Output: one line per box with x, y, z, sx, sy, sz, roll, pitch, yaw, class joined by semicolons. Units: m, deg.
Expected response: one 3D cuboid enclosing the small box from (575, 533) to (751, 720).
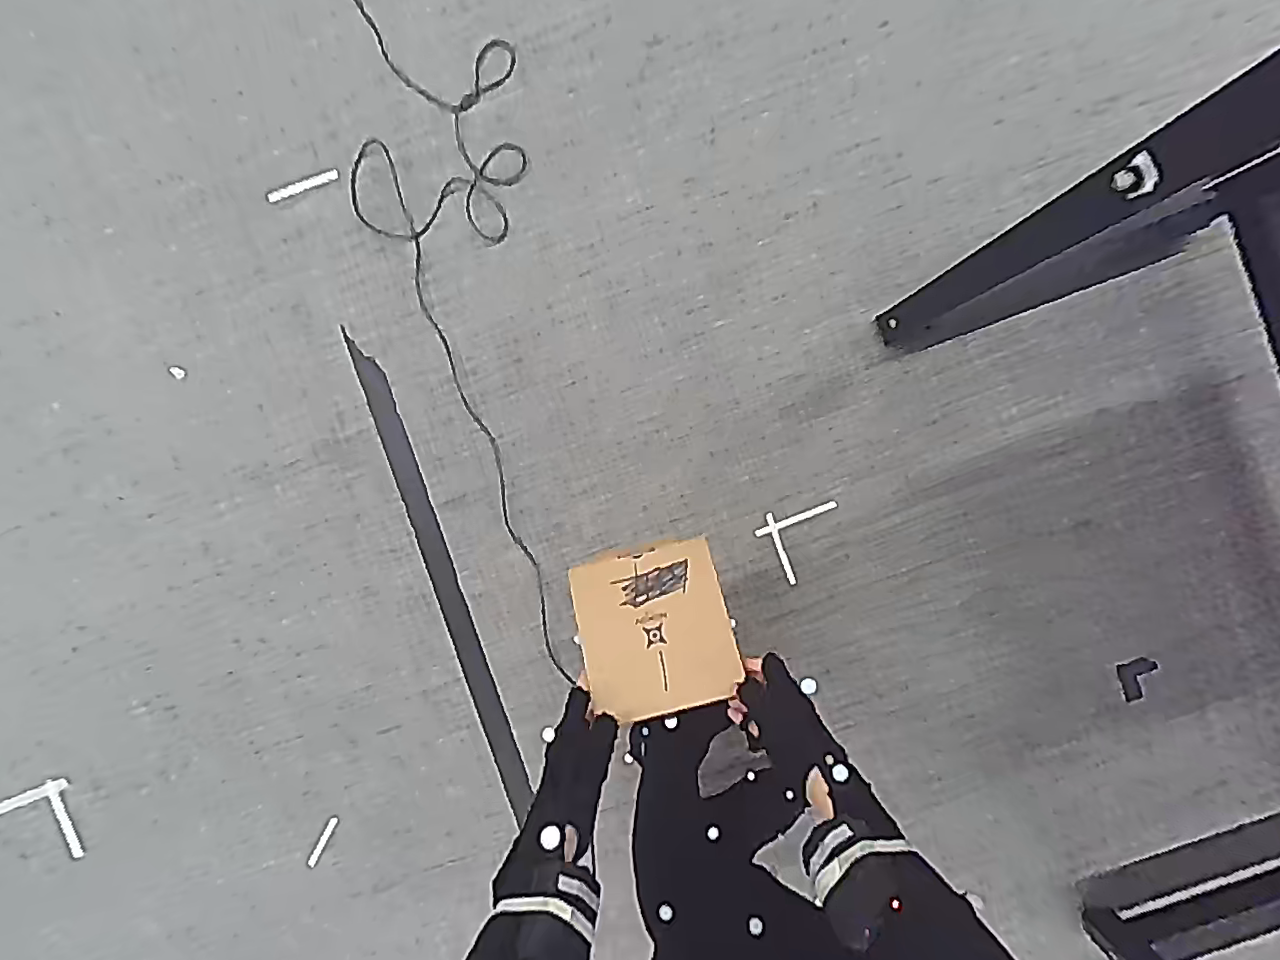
0.023;0.185;0.664;0.168;0.176;0.179;-13;68;-2;small box
